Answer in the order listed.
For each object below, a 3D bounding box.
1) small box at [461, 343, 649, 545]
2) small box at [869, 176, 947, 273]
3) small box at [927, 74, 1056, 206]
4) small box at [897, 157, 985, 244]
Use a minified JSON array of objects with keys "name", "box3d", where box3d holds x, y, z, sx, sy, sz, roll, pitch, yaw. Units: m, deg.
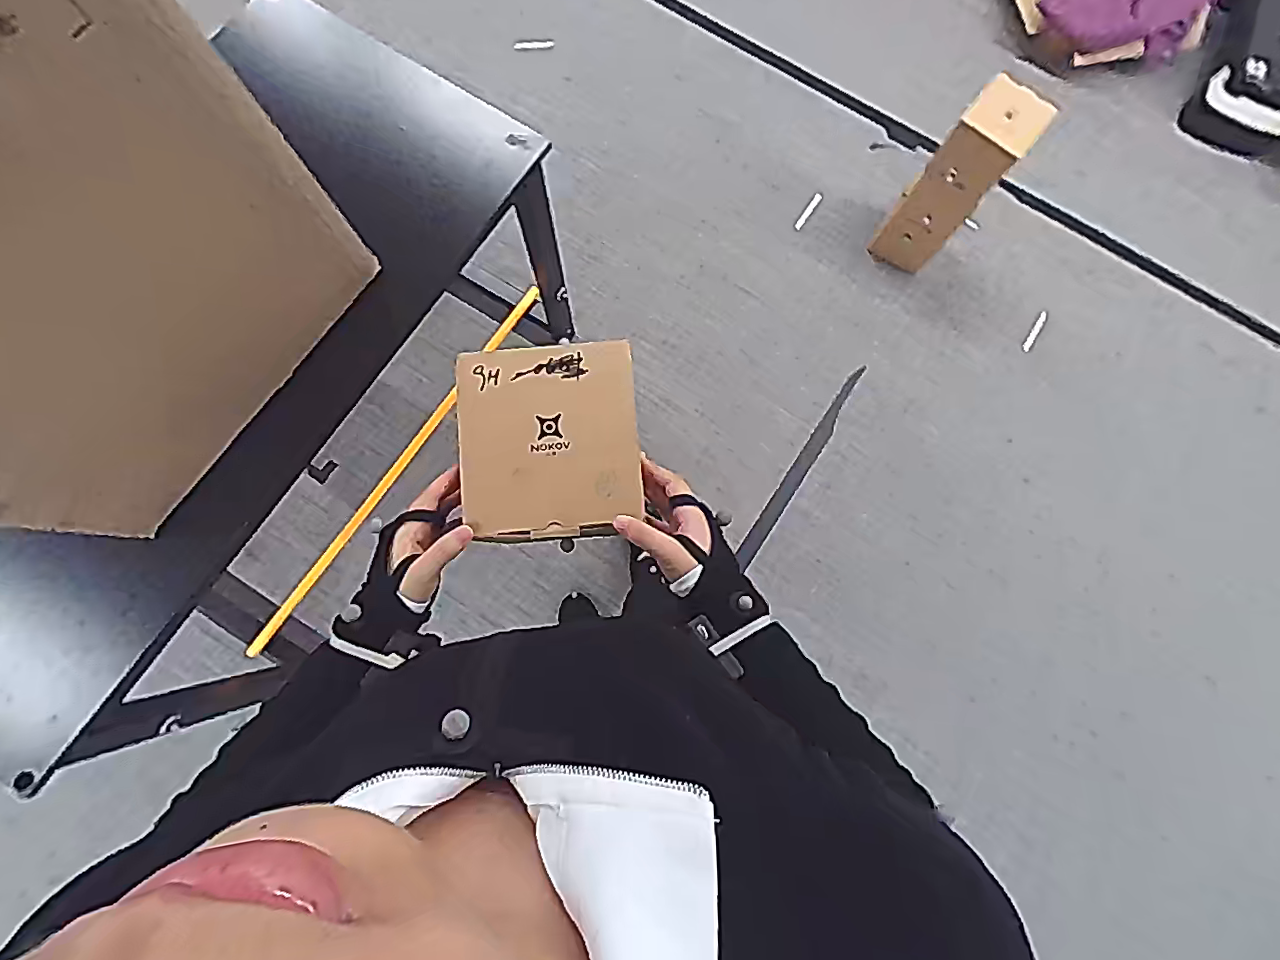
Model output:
[{"name":"small box","box3d":[-0.077,-0.026,0.565,0.168,0.176,0.179,-4,83,-1]},{"name":"small box","box3d":[0.834,-0.768,1.644,0.179,0.176,0.168,30,80,3]},{"name":"small box","box3d":[0.846,-0.822,1.322,0.168,0.176,0.179,39,81,6]},{"name":"small box","box3d":[0.845,-0.797,1.483,0.168,0.176,0.179,33,80,4]}]
